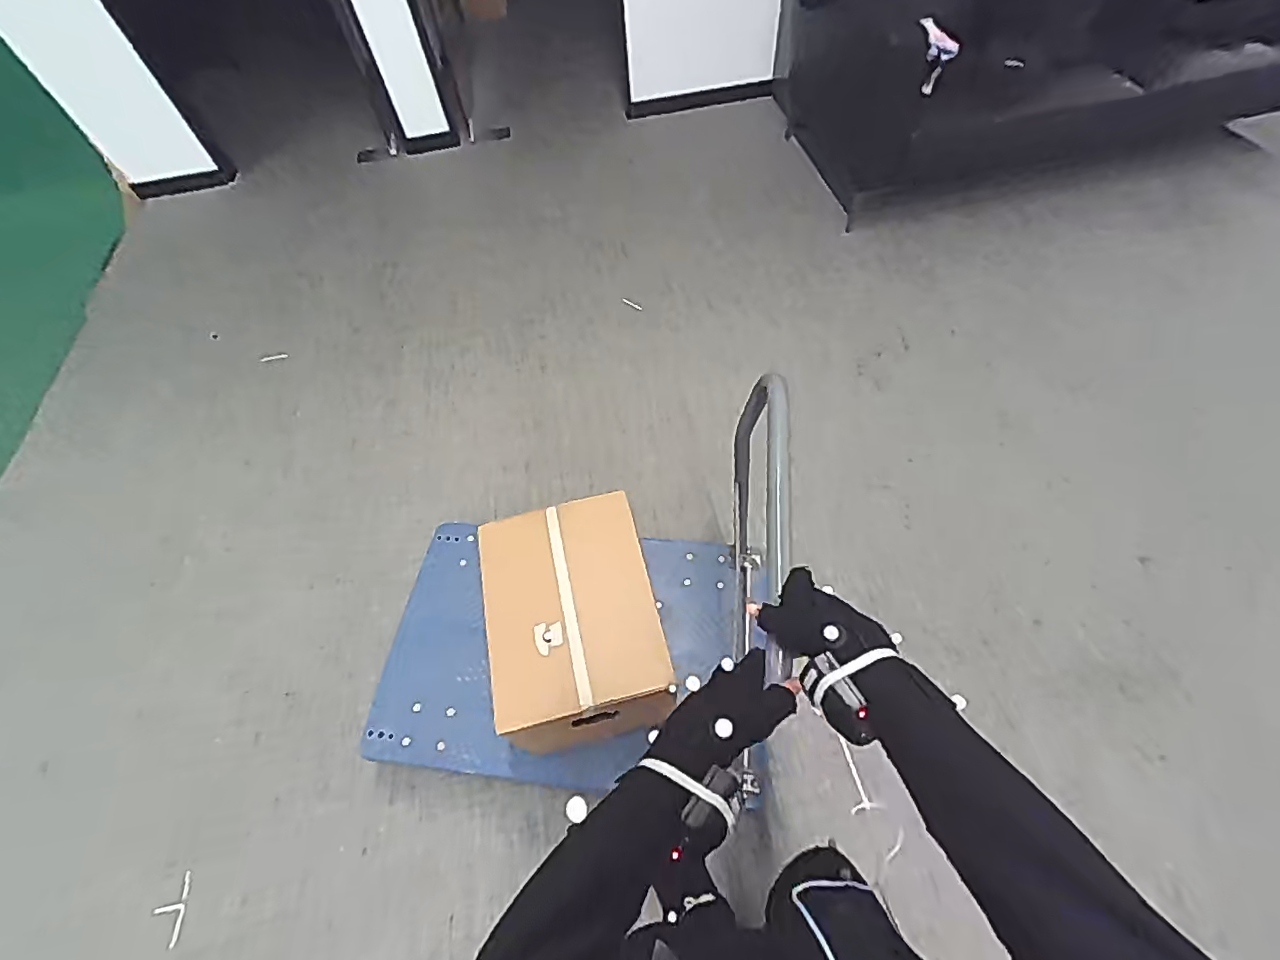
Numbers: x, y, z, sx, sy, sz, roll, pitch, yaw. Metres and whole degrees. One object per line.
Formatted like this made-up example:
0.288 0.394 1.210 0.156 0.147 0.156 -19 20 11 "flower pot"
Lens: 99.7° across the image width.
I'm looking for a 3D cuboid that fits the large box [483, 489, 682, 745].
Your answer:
-0.117 0.290 1.137 0.320 0.320 0.408 -14 58 -4 "large box"
